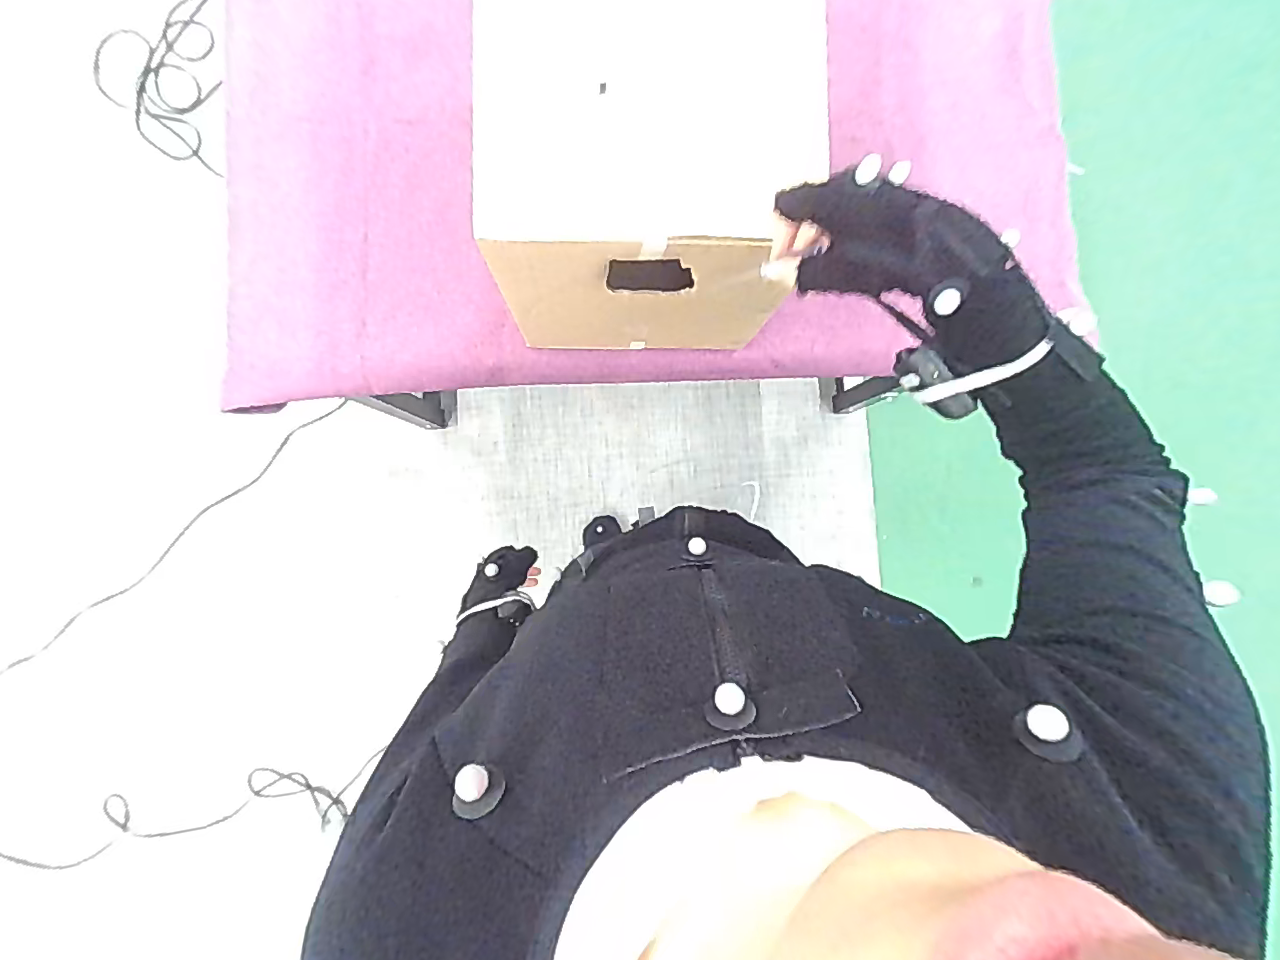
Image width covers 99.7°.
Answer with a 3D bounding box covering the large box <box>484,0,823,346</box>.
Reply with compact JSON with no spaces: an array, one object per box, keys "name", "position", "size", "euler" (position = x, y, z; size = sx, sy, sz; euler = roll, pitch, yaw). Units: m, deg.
[{"name":"large box","position":[0.003,-0.401,0.644],"size":[0.320,0.320,0.408],"euler":[0,87,-3]}]
